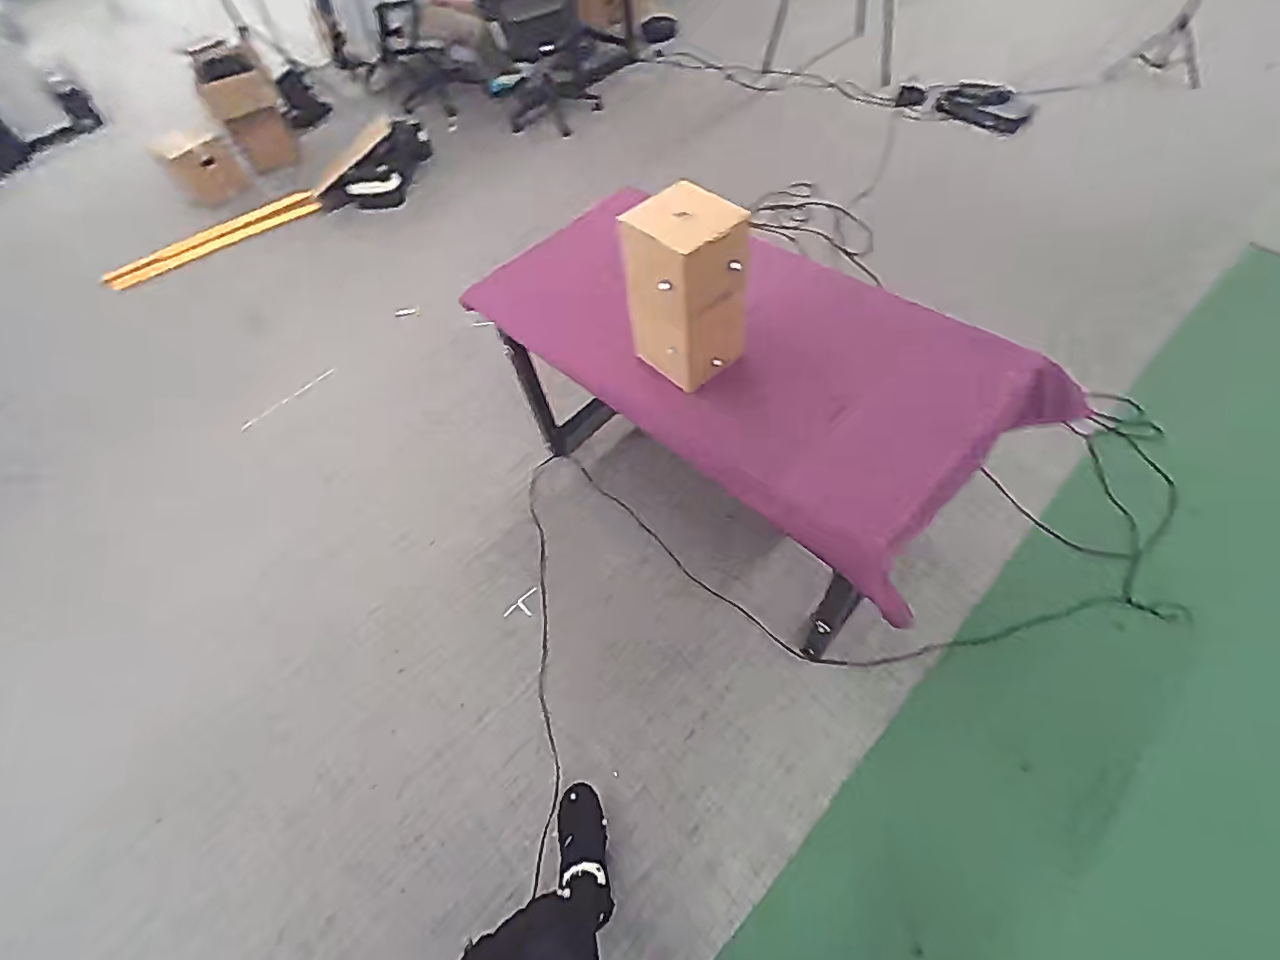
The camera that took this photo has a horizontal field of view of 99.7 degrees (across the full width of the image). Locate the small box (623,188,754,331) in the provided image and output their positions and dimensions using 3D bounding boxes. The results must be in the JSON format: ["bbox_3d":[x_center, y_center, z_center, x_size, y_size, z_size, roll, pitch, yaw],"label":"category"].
[{"bbox_3d":[0.093,-0.408,1.021,0.168,0.176,0.179,-37,59,-17],"label":"small box"}]
